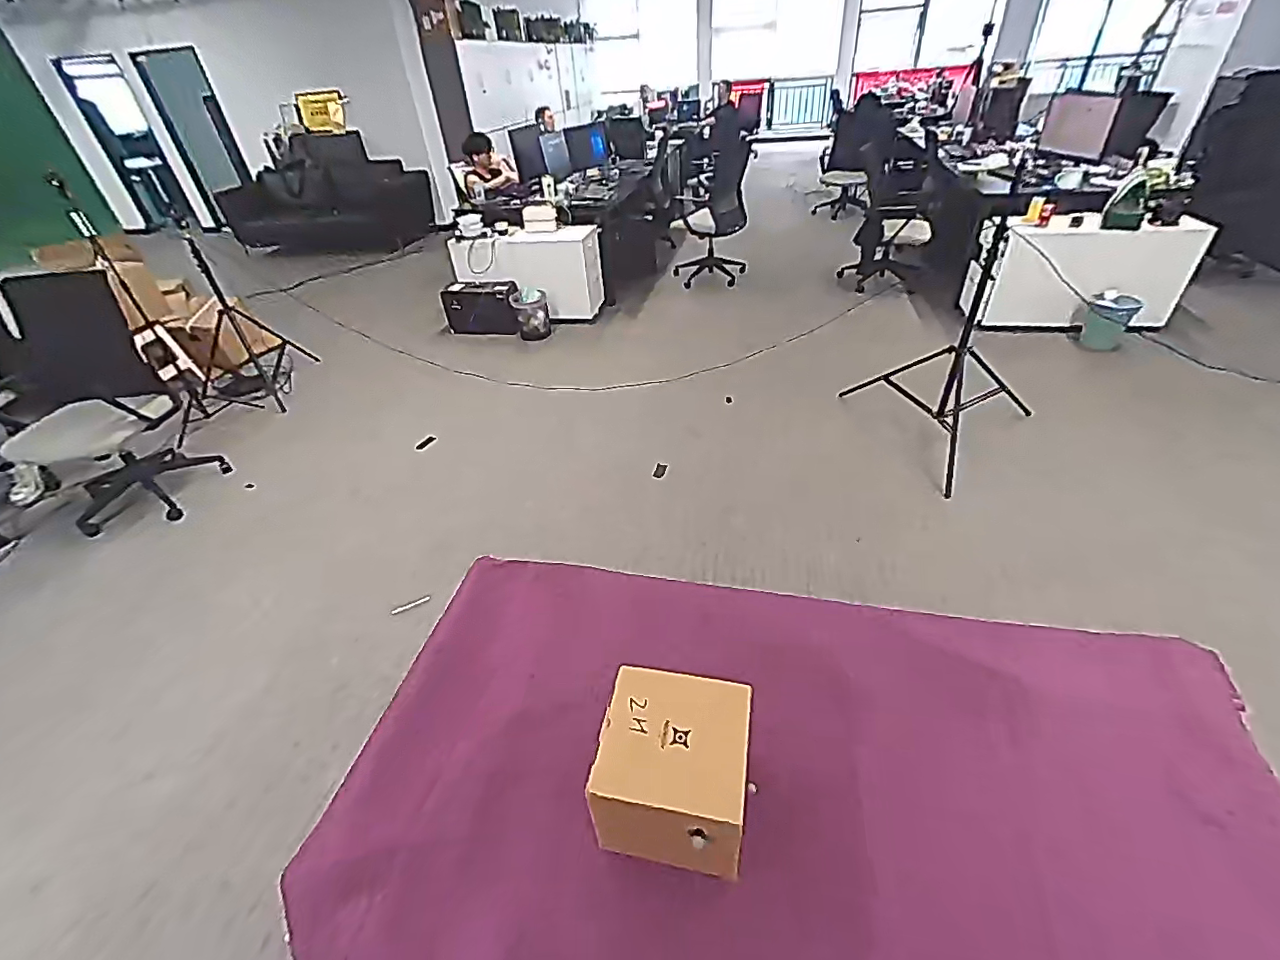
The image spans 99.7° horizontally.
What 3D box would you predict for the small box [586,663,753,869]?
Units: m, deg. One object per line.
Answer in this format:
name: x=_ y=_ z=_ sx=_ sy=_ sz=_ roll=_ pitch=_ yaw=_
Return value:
small box: x=0.047 y=0.365 z=0.691 sx=0.179 sy=0.176 sz=0.168 roll=4 pitch=38 yaw=12
